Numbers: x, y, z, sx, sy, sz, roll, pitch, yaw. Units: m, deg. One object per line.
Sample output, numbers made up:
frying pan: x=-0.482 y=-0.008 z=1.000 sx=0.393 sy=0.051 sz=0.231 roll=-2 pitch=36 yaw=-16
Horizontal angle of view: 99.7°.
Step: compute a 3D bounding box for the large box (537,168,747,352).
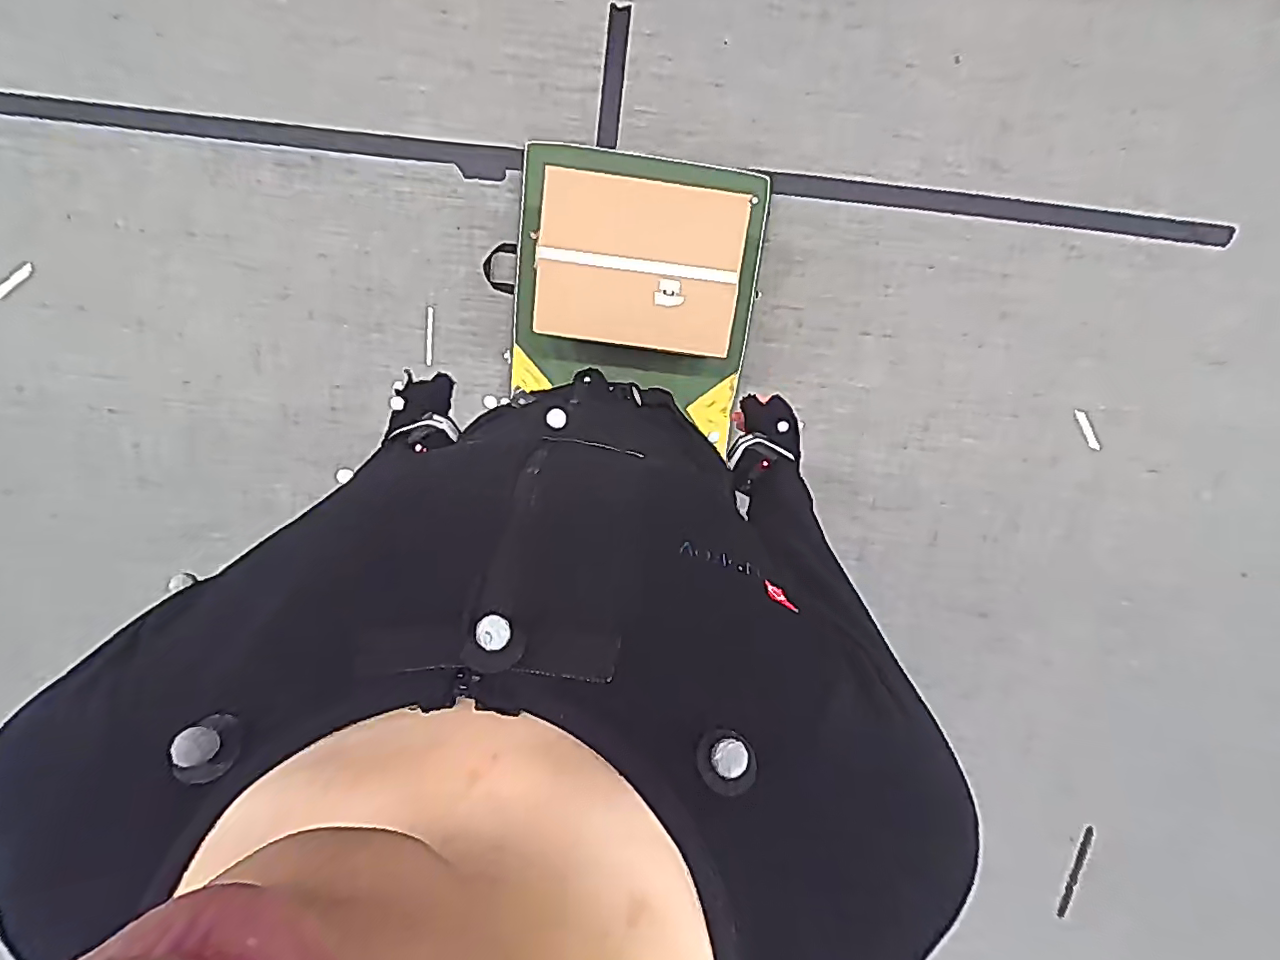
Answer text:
large box: x=-0.006 y=-0.471 z=1.232 sx=0.408 sy=0.320 sz=0.320 roll=7 pitch=104 yaw=-3
